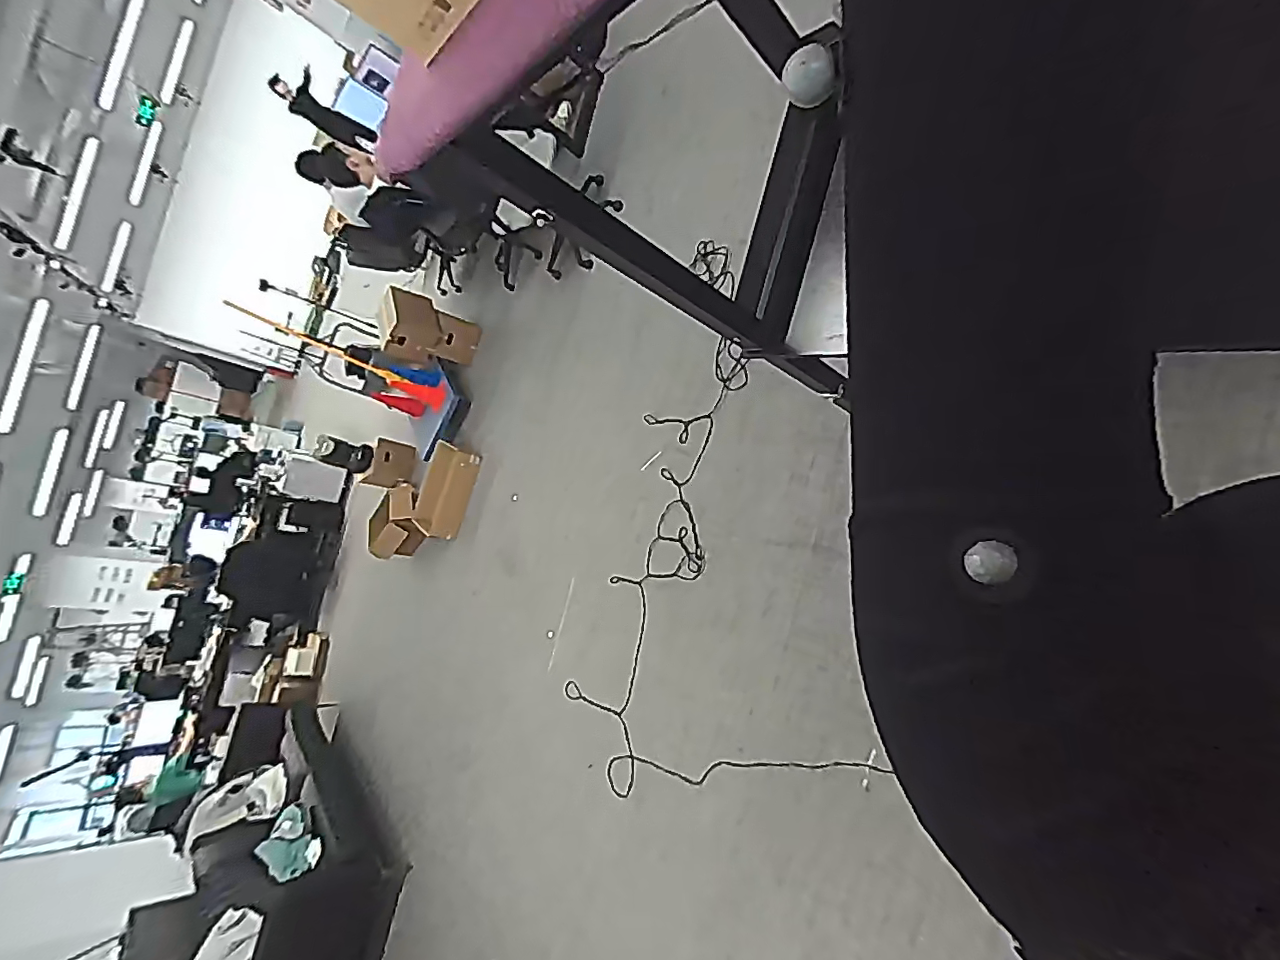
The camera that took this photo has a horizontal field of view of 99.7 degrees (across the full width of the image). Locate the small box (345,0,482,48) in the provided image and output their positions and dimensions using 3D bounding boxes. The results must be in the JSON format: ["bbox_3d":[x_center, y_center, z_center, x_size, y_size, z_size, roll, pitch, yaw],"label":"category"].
[{"bbox_3d":[-0.213,-0.533,0.472,0.168,0.176,0.179,13,87,48],"label":"small box"}]
